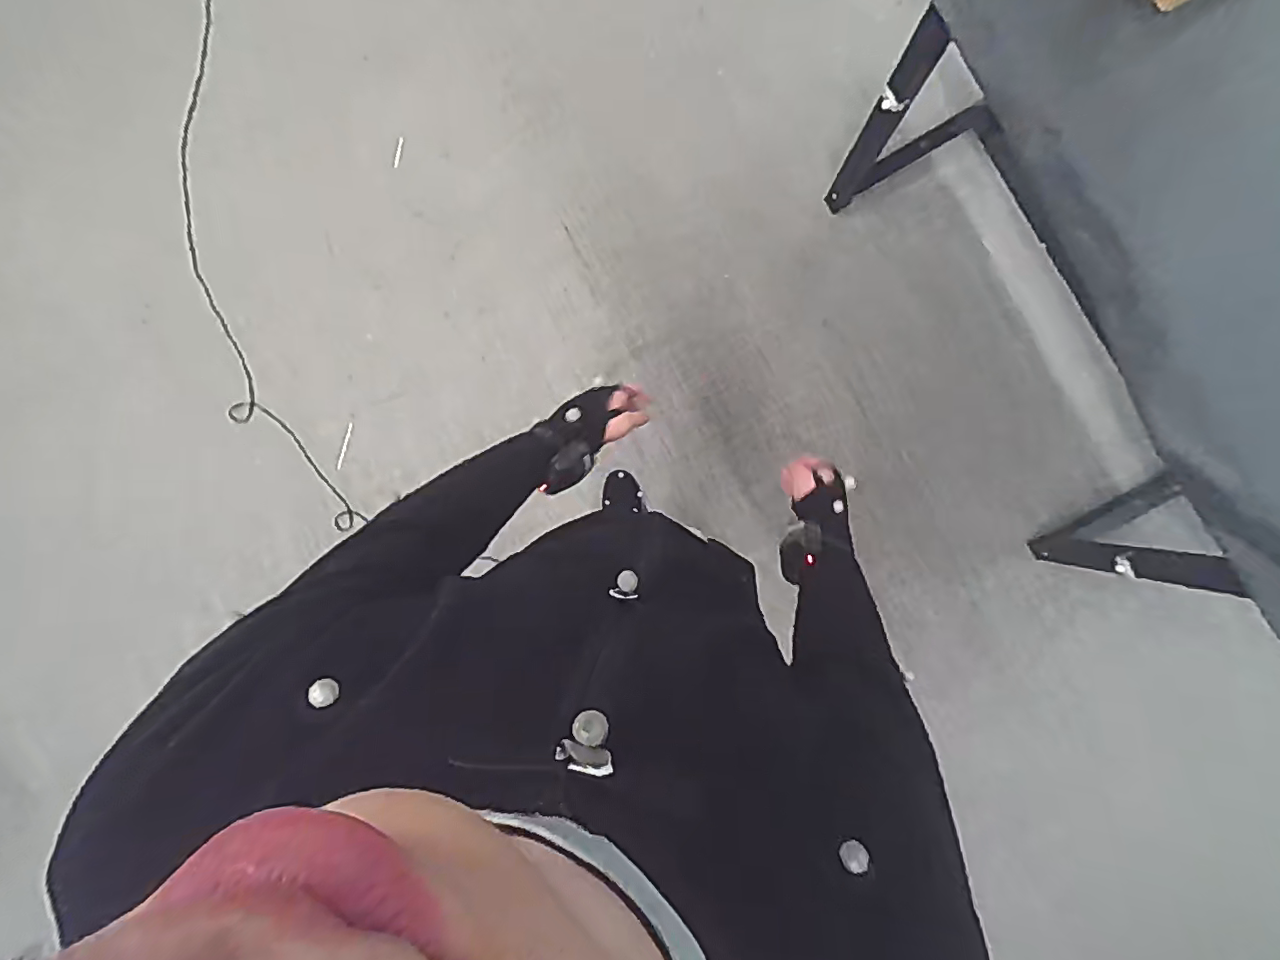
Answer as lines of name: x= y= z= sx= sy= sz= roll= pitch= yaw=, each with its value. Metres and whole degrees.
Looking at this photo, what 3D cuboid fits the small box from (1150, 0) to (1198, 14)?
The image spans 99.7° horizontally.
small box: x=0.818 y=-0.802 z=0.734 sx=0.179 sy=0.176 sz=0.168 roll=-27 pitch=89 yaw=2
